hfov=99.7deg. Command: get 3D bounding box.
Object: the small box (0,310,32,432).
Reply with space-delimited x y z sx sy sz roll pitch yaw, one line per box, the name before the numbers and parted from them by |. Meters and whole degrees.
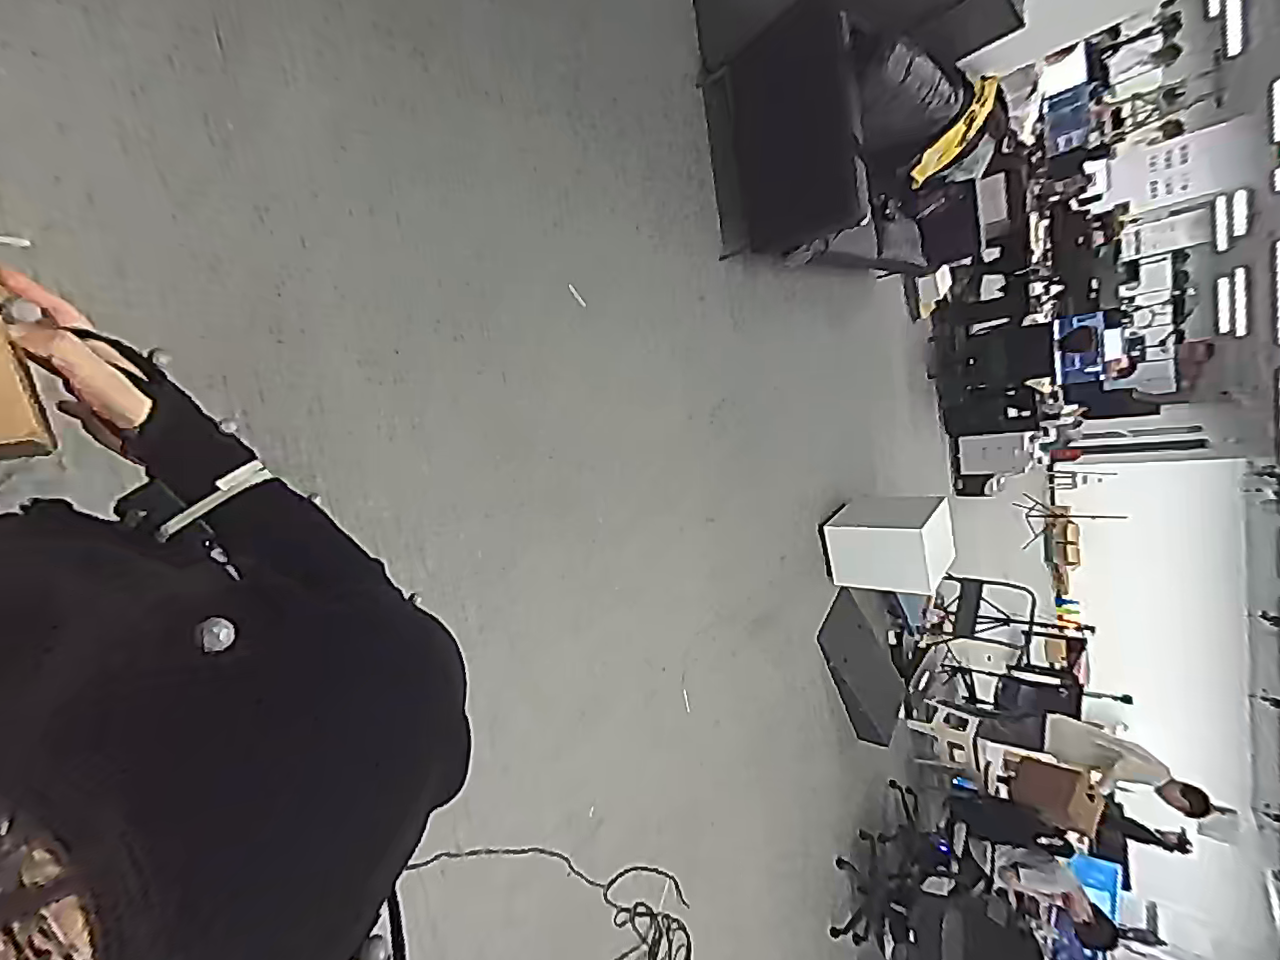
small box | -0.478 -0.107 0.293 0.168 0.176 0.179 -20 104 -45
